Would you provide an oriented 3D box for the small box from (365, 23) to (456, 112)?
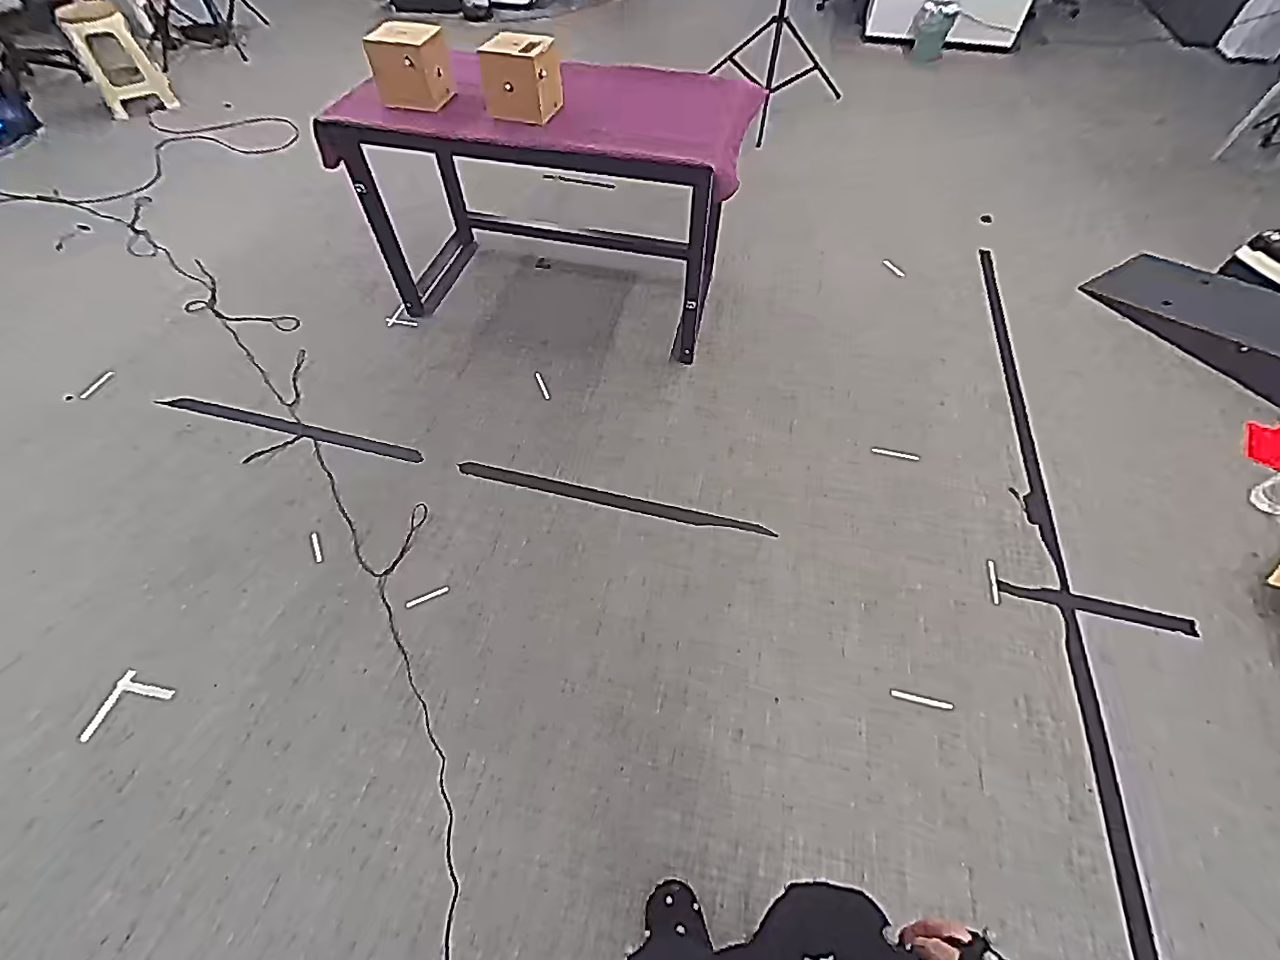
[{"bbox_3d":[-0.676,-1.233,1.621,0.179,0.176,0.168,9,54,6],"label":"small box"}]
